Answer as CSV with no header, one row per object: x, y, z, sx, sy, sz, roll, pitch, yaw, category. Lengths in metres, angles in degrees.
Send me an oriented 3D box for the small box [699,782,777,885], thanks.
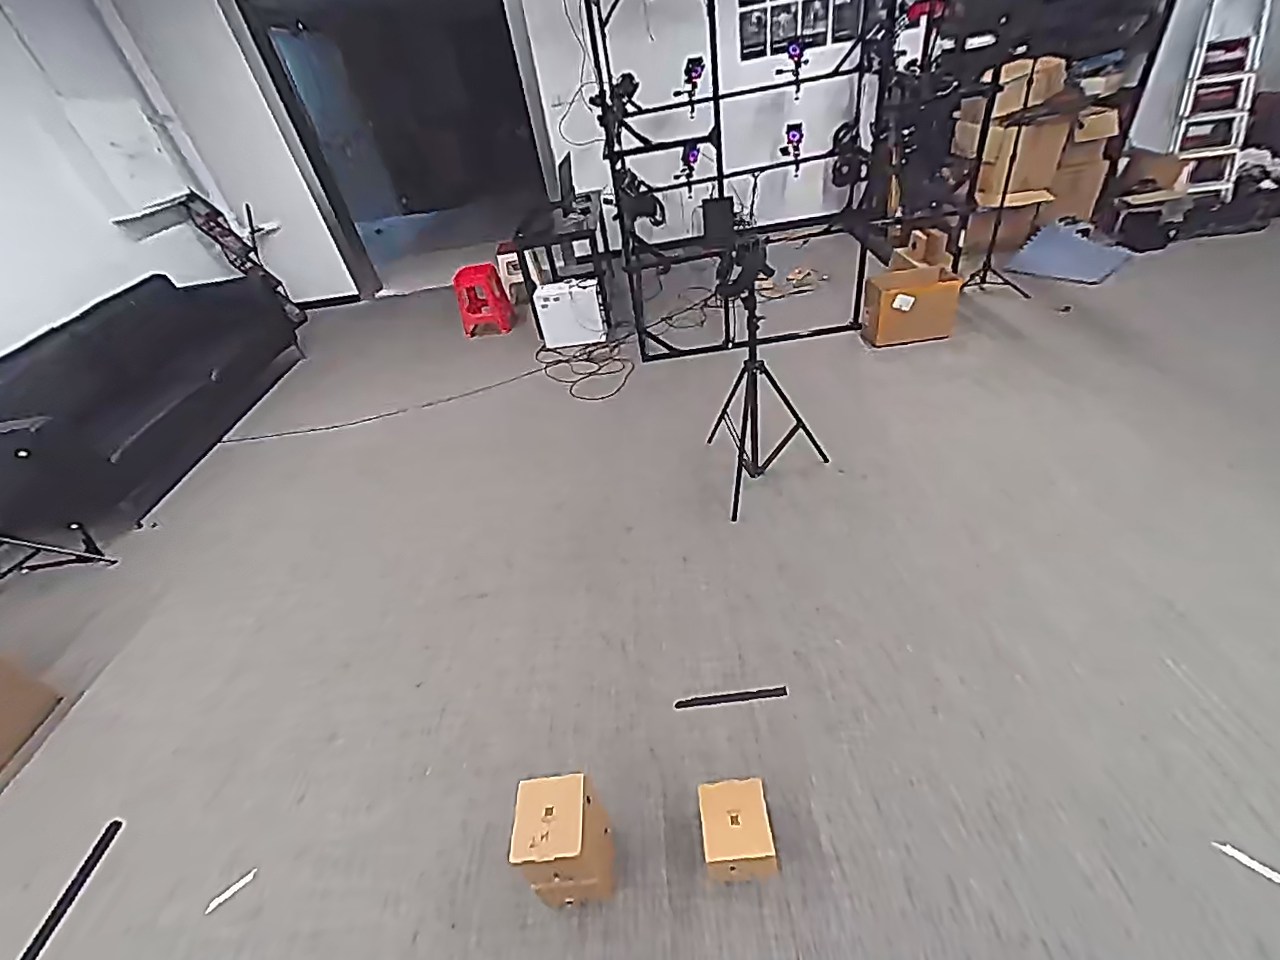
0.248,0.899,1.370,0.168,0.176,0.179,-8,38,3,small box

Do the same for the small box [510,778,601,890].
-0.192,0.841,1.285,0.168,0.176,0.179,-10,39,5,small box

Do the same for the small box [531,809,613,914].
-0.165,0.973,1.380,0.168,0.176,0.179,-9,38,5,small box
